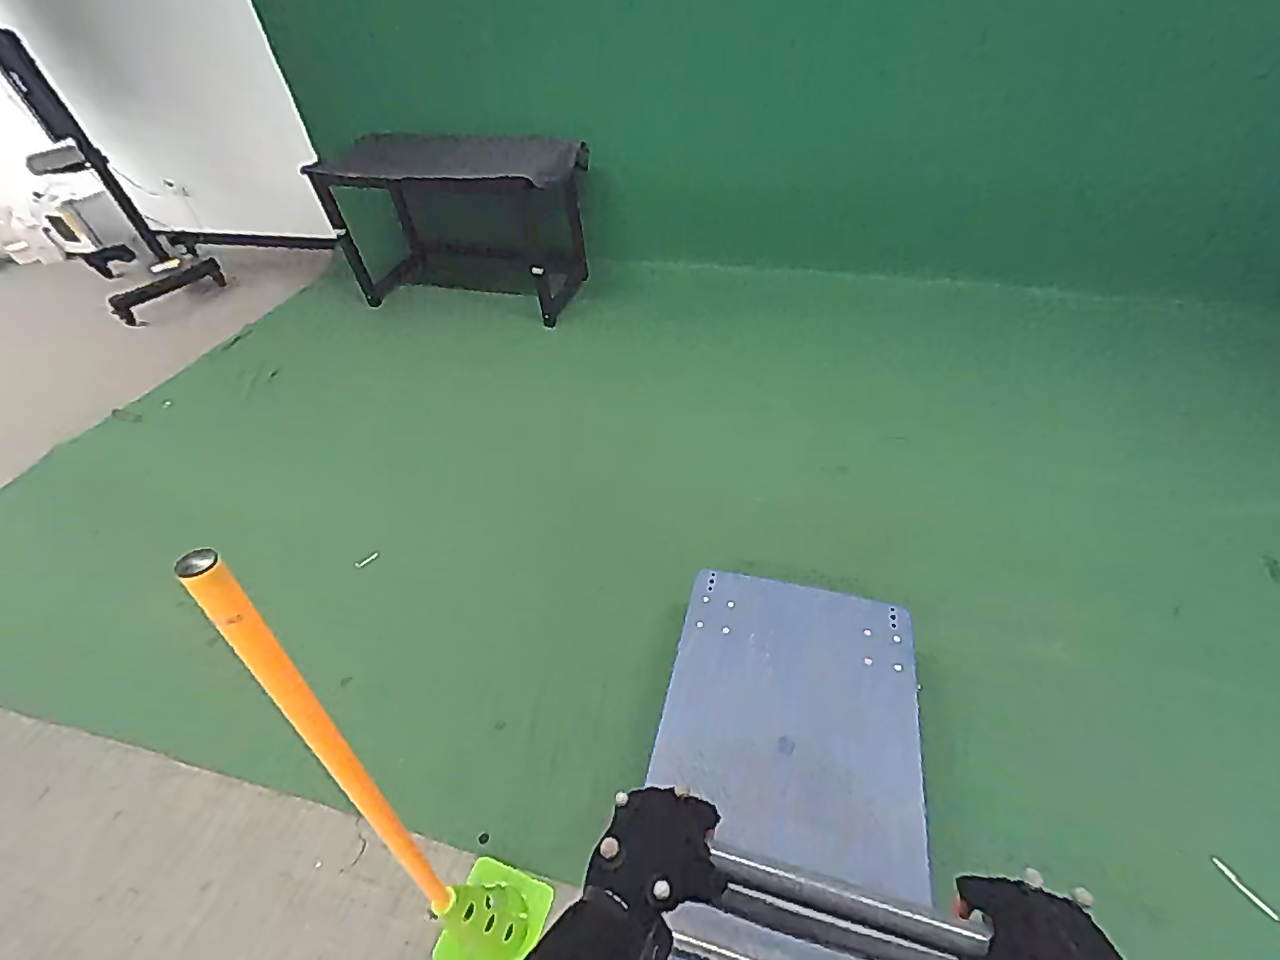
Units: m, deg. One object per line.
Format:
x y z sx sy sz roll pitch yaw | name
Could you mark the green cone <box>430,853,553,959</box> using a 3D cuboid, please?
-0.321 0.826 1.048 0.202 0.368 0.200 11 47 16 | green cone
